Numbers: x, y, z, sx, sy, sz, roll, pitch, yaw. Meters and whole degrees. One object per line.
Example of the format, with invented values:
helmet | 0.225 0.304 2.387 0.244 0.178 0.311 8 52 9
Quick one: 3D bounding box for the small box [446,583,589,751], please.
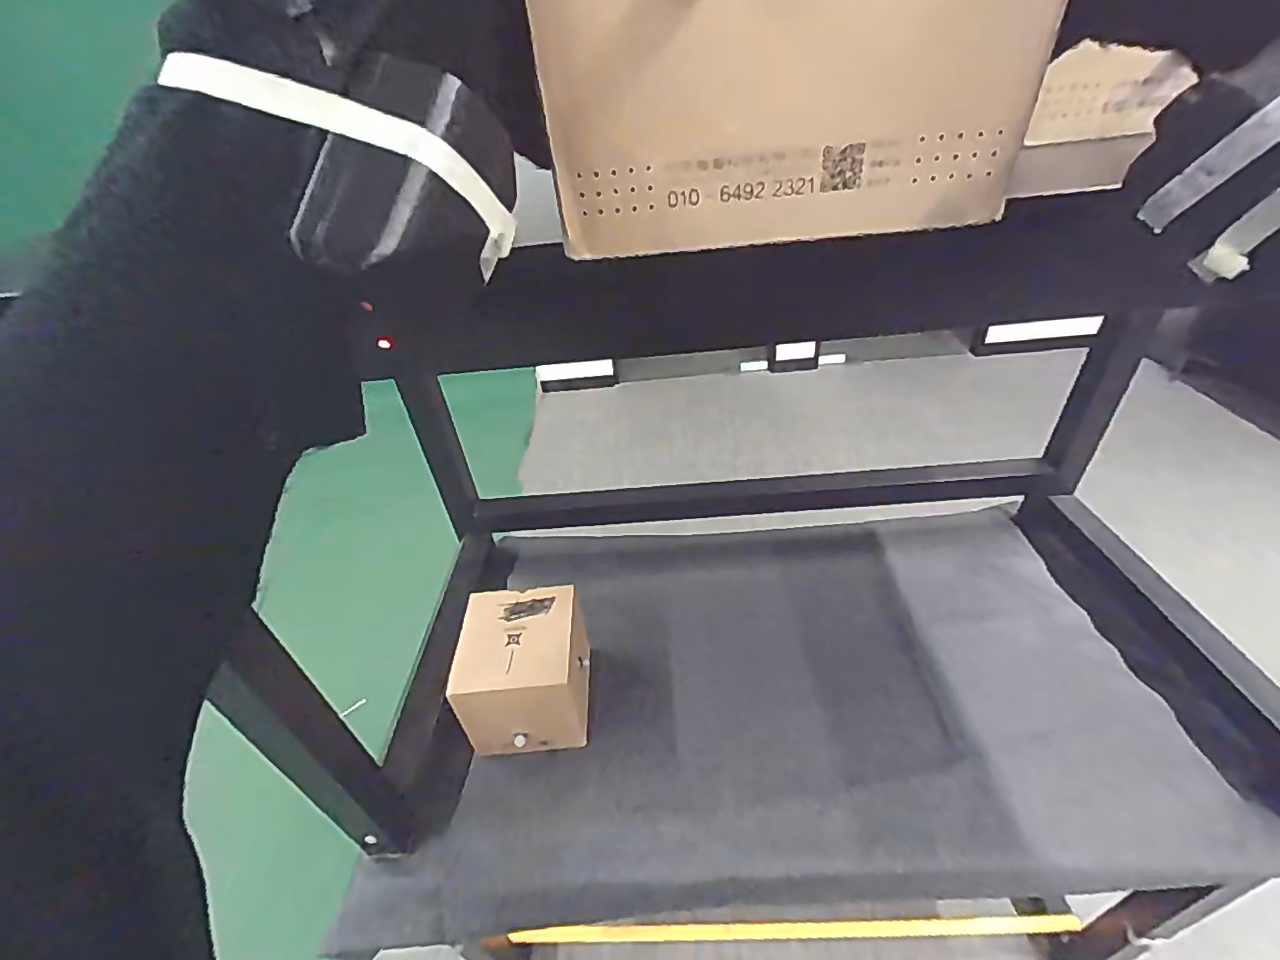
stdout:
small box | -0.172 0.284 0.826 0.168 0.176 0.179 -6 37 2
